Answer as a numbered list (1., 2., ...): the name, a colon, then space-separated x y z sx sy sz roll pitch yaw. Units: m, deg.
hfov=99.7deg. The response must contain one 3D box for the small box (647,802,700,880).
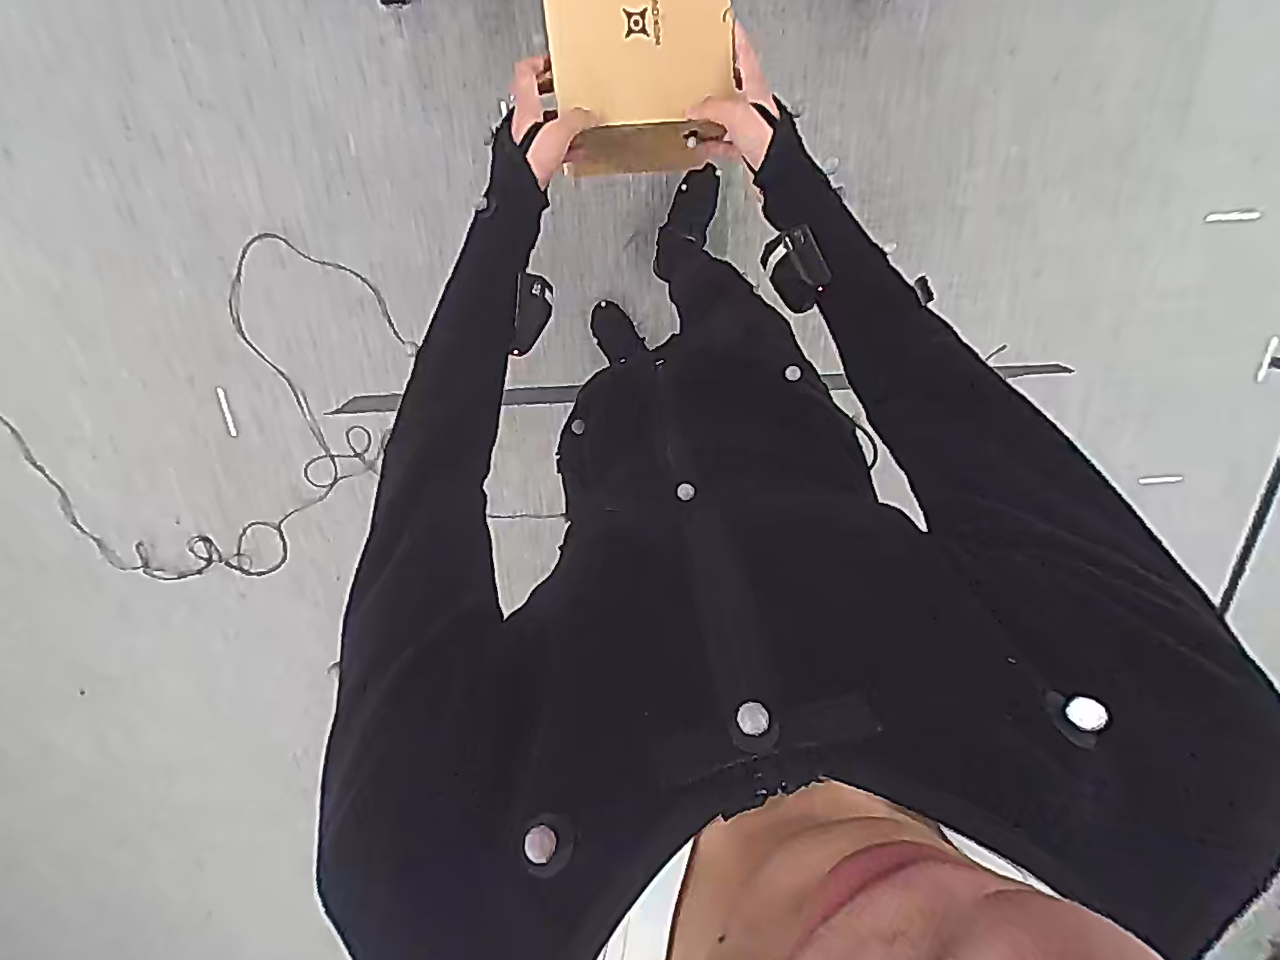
1. small box: 0.114 1.290 1.936 0.179 0.176 0.168 -2 112 -3

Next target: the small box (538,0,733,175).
1. small box: -0.010 -0.439 0.574 0.179 0.176 0.168 -7 106 -5

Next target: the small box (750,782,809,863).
1. small box: 0.500 1.231 1.949 0.168 0.176 0.179 -9 111 -3

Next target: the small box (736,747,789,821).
1. small box: 0.479 1.177 2.103 0.168 0.176 0.179 -10 112 -2
